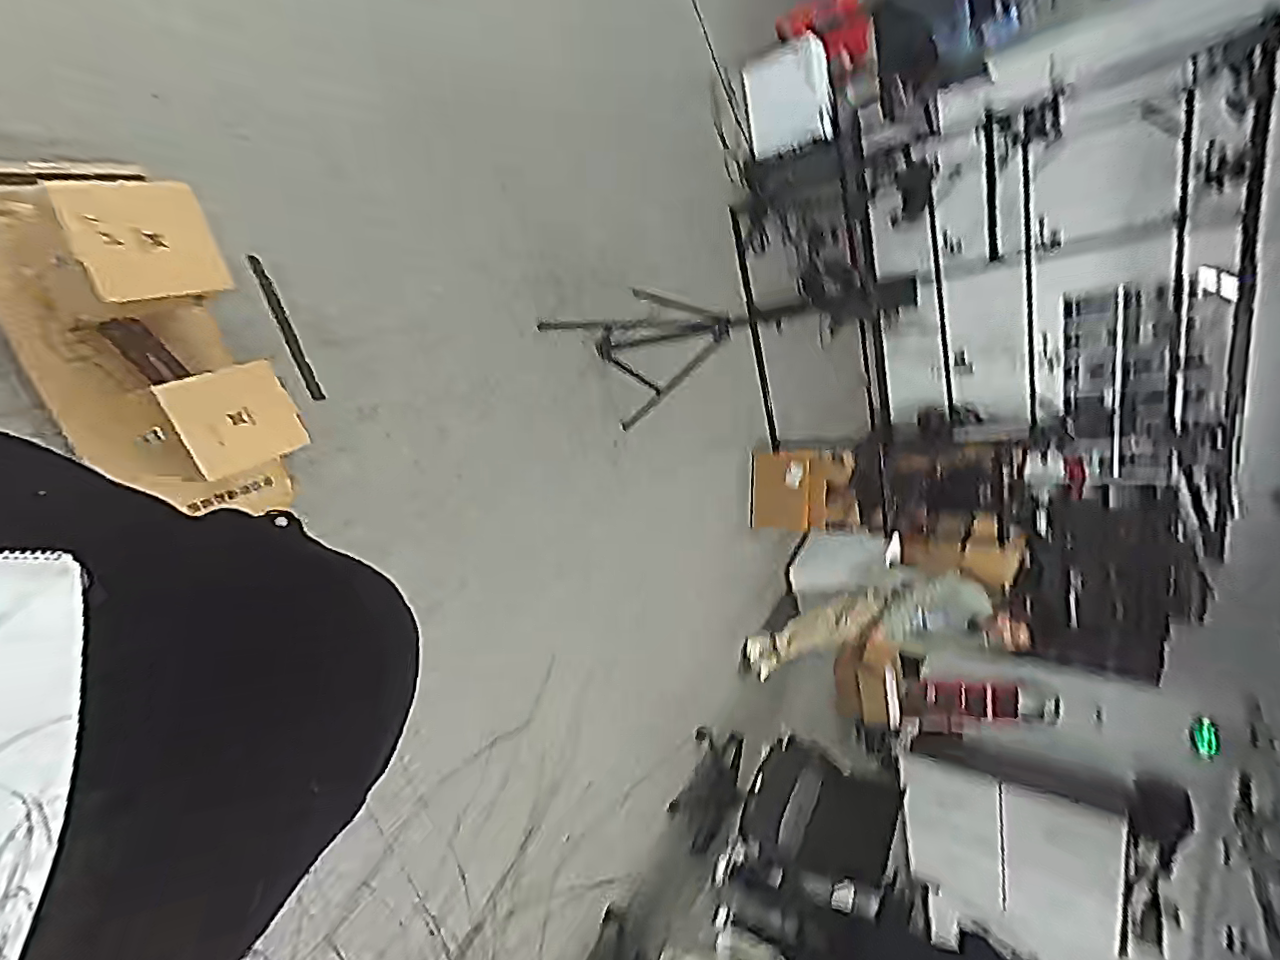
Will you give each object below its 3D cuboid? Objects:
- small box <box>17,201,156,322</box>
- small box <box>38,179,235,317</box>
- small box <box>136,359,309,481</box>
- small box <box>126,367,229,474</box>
[{"bbox_3d":[-0.950,-0.389,0.968,0.179,0.176,0.168,-34,117,-44],"label":"small box"},{"bbox_3d":[-0.812,-0.371,0.876,0.179,0.176,0.168,-33,116,-46],"label":"small box"},{"bbox_3d":[-0.746,-0.107,0.970,0.179,0.176,0.168,-37,117,-44],"label":"small box"},{"bbox_3d":[-0.874,-0.116,1.072,0.179,0.176,0.168,-33,114,-45],"label":"small box"}]
